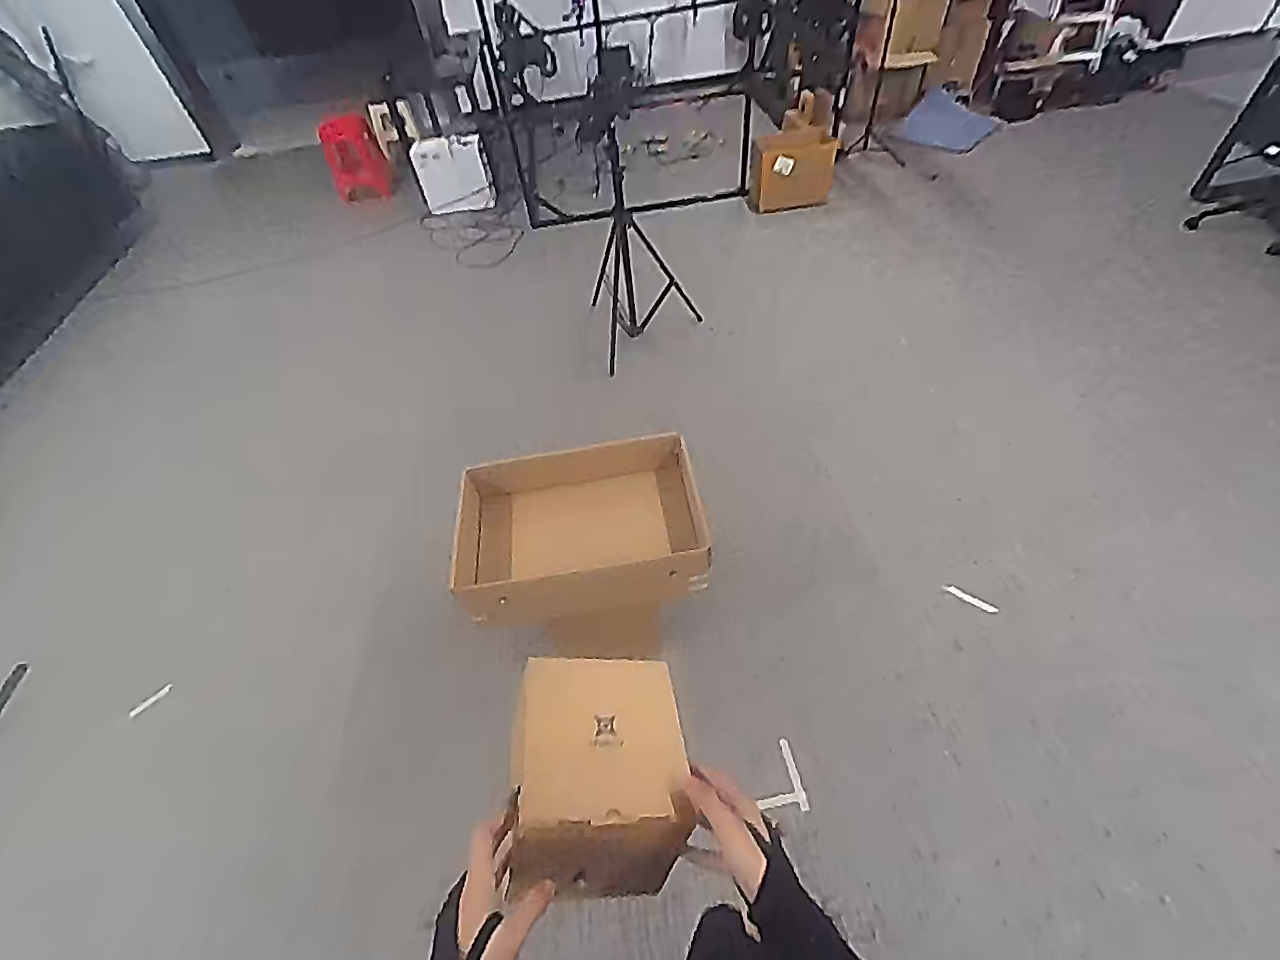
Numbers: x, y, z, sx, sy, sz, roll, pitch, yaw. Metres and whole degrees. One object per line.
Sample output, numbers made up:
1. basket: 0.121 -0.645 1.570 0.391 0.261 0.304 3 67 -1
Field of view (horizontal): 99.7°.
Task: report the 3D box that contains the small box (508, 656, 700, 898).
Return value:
1. small box: -0.052 0.323 0.601 0.168 0.176 0.179 7 33 -15
